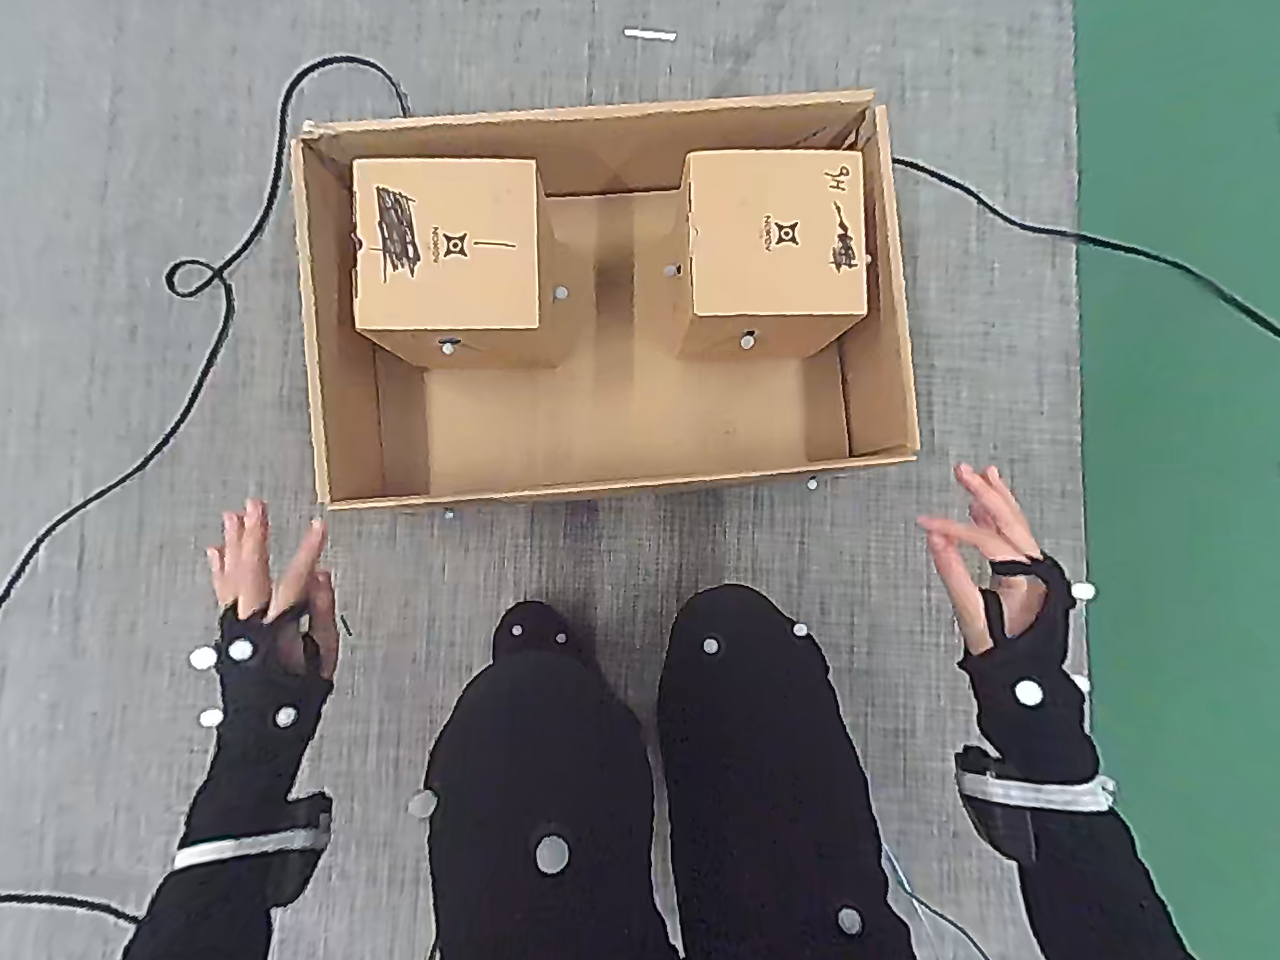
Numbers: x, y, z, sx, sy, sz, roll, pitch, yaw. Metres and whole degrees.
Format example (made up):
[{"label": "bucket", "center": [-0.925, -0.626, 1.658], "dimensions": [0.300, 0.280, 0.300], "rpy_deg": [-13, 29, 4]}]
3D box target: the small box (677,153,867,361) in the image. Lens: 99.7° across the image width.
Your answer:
[{"label": "small box", "center": [0.134, -0.235, 0.610], "dimensions": [0.179, 0.176, 0.168], "rpy_deg": [0, 88, -2]}]
